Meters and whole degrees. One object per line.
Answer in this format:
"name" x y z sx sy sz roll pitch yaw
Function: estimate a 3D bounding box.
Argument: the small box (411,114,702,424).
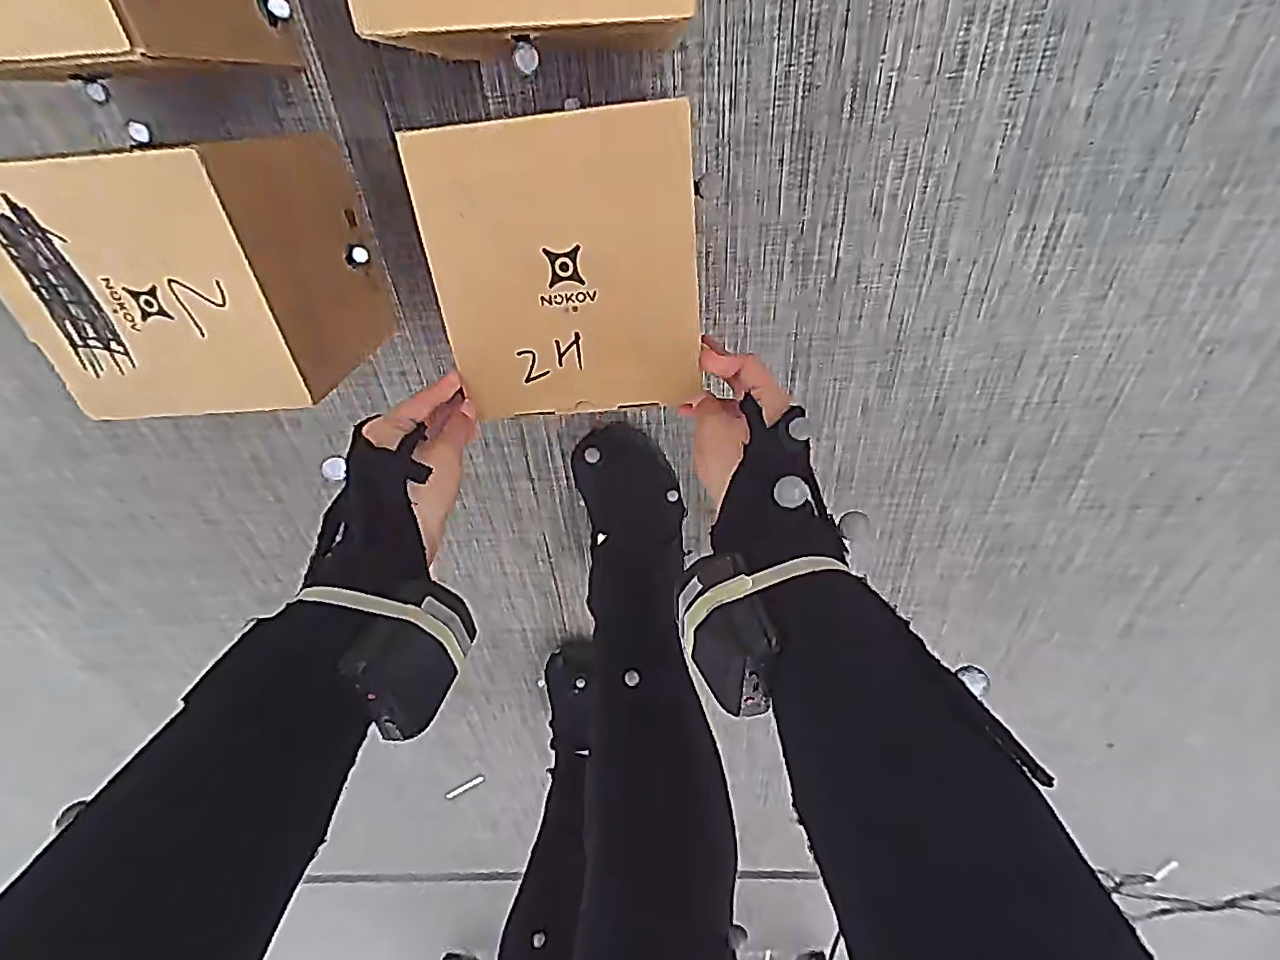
"small box" -0.042 -0.159 0.414 0.168 0.176 0.179 -4 119 5
